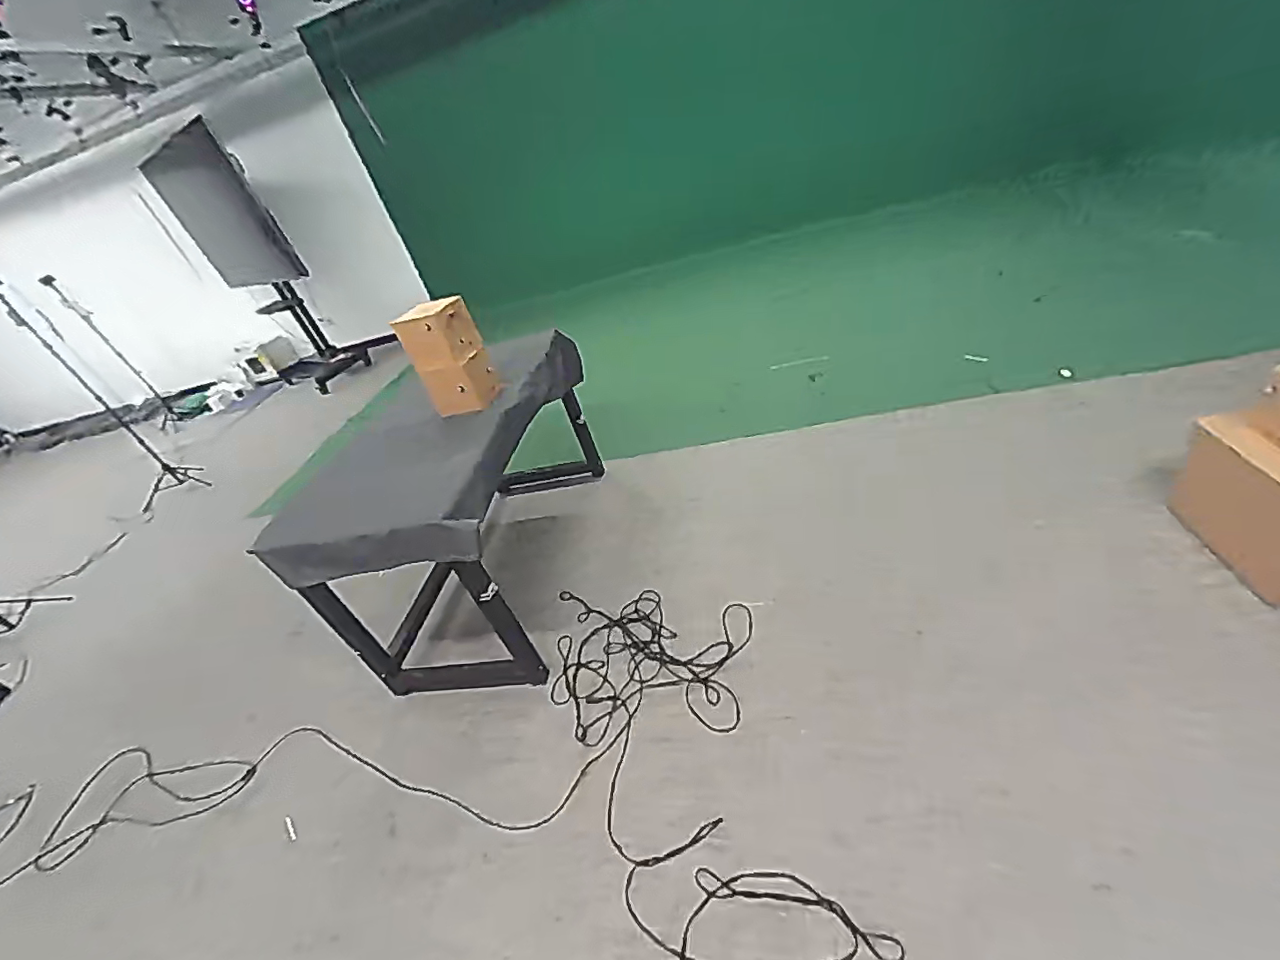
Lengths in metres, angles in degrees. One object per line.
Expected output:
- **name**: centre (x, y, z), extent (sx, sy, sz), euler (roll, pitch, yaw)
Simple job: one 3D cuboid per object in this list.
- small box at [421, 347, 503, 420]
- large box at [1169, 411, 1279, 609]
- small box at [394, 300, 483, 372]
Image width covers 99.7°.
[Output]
- **small box**: centre (-0.591, -0.323, 1.823), extent (0.179, 0.176, 0.168), euler (-8, 34, 18)
- **large box**: centre (1.674, 0.059, 1.353), extent (0.320, 0.320, 0.408), euler (-10, 36, 14)
- **small box**: centre (-0.646, -0.463, 1.755), extent (0.179, 0.176, 0.168), euler (-4, 36, 21)
